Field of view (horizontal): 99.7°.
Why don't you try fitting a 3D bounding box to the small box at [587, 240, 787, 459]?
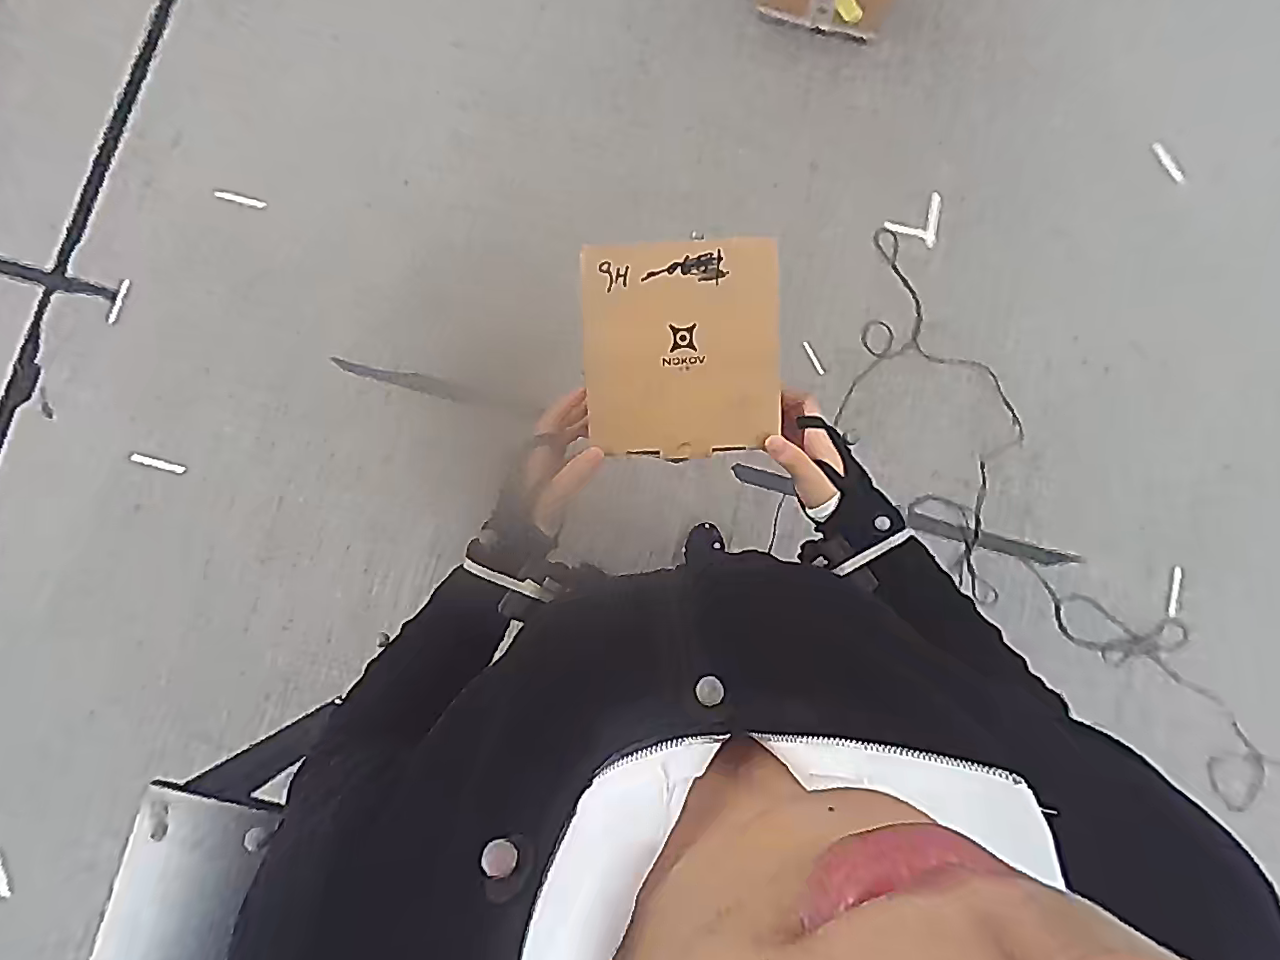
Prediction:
[{"bbox_3d":[0.041,-0.119,0.529,0.168,0.176,0.179,-2,98,0],"label":"small box"}]
